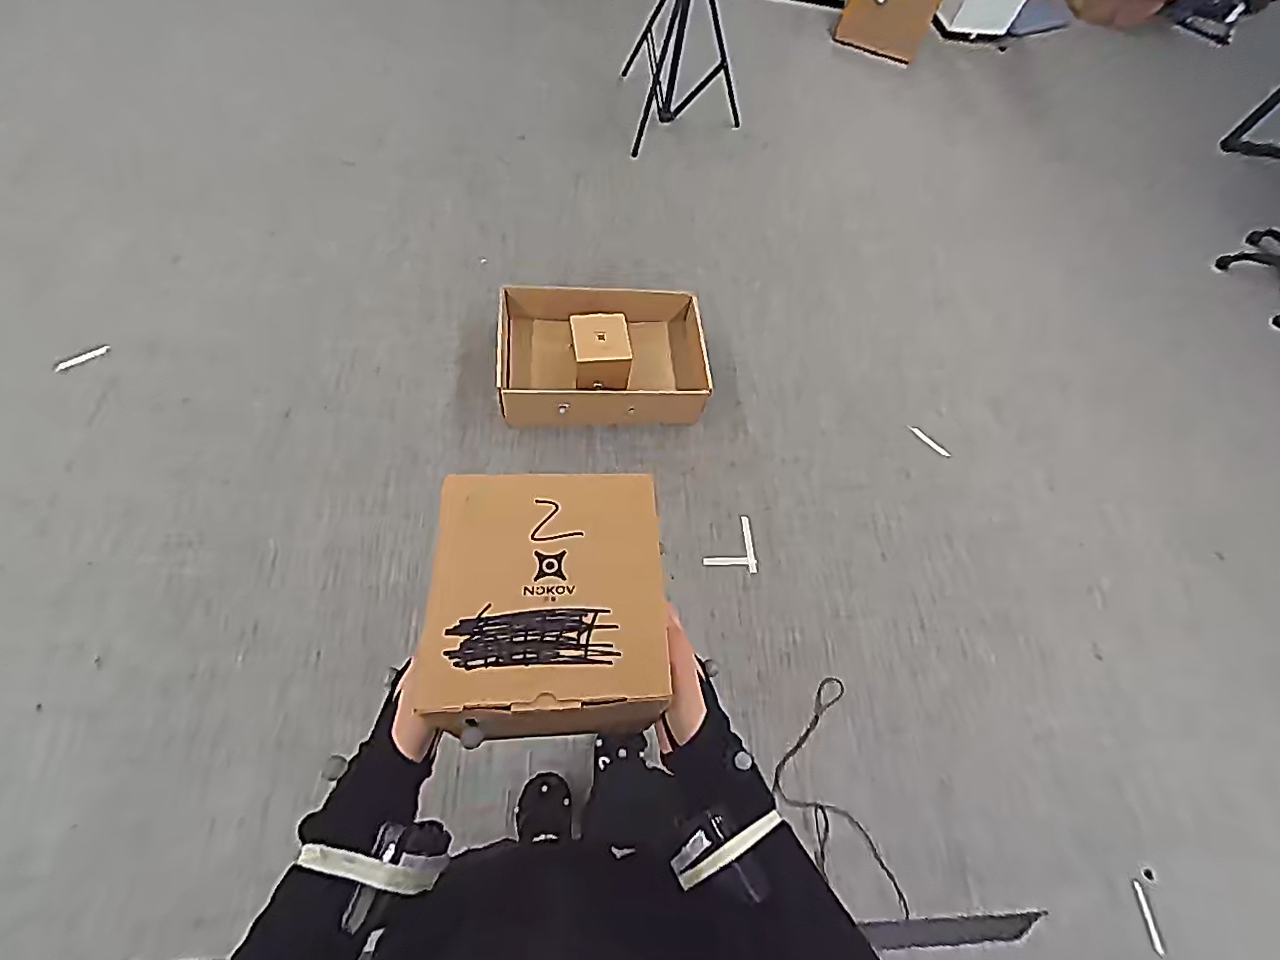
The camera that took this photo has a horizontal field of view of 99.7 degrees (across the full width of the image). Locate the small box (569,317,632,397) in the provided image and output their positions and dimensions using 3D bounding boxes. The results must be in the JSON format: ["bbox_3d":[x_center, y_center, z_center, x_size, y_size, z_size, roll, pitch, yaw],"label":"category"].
[{"bbox_3d":[-0.127,-0.375,1.659,0.168,0.176,0.179,-6,65,-11],"label":"small box"}]
